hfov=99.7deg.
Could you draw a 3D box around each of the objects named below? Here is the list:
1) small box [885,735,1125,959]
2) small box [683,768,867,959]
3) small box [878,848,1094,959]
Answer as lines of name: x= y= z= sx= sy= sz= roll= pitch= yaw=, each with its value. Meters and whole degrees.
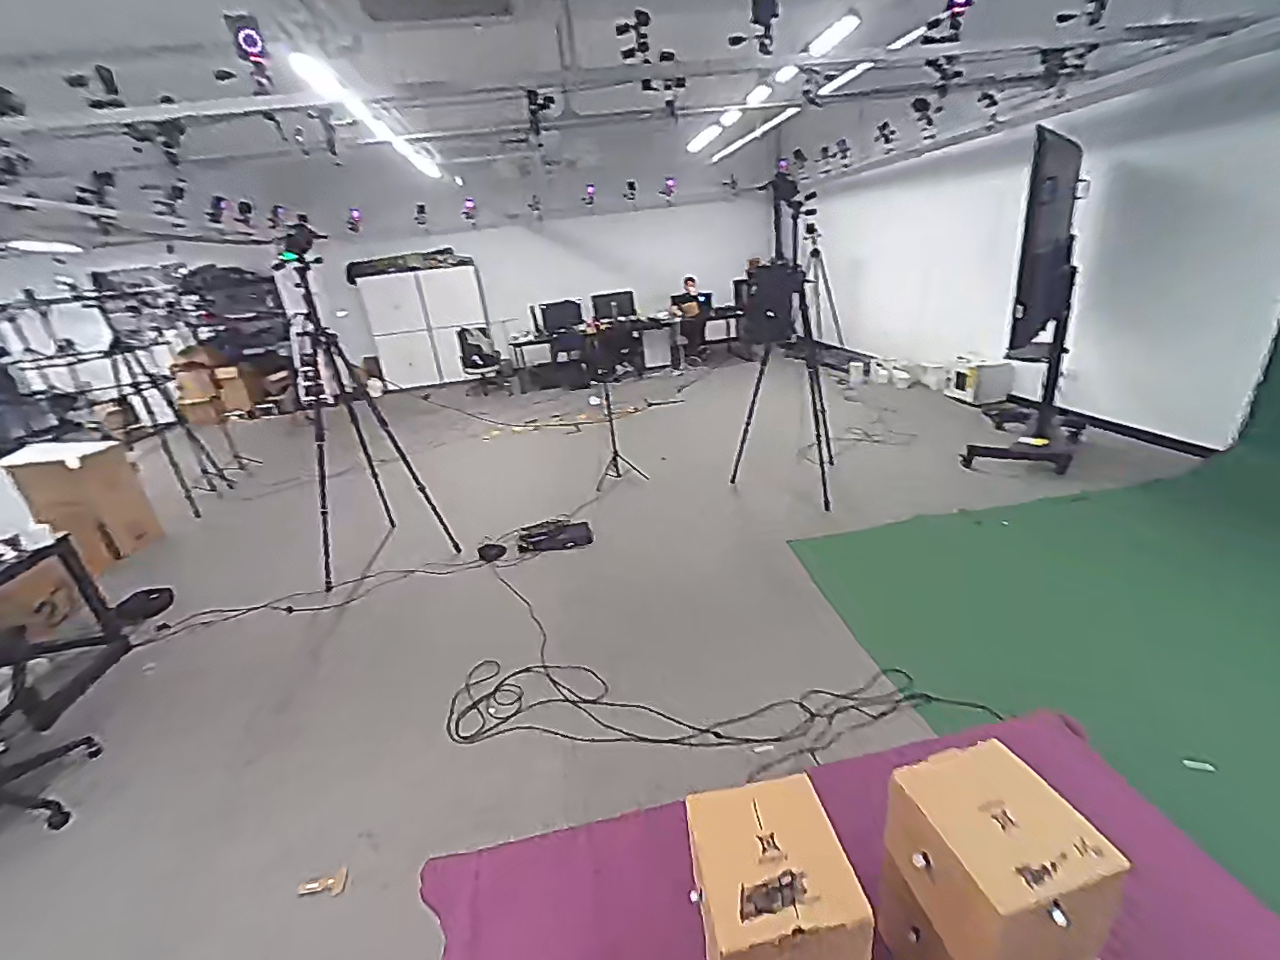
small box: x=0.425 y=0.459 z=0.664 sx=0.168 sy=0.176 sz=0.179 roll=-11 pitch=22 yaw=-10
small box: x=0.154 y=0.496 z=0.655 sx=0.168 sy=0.176 sz=0.179 roll=-8 pitch=22 yaw=-5
small box: x=0.442 y=0.610 z=0.725 sx=0.168 sy=0.176 sz=0.179 roll=-11 pitch=23 yaw=-10
